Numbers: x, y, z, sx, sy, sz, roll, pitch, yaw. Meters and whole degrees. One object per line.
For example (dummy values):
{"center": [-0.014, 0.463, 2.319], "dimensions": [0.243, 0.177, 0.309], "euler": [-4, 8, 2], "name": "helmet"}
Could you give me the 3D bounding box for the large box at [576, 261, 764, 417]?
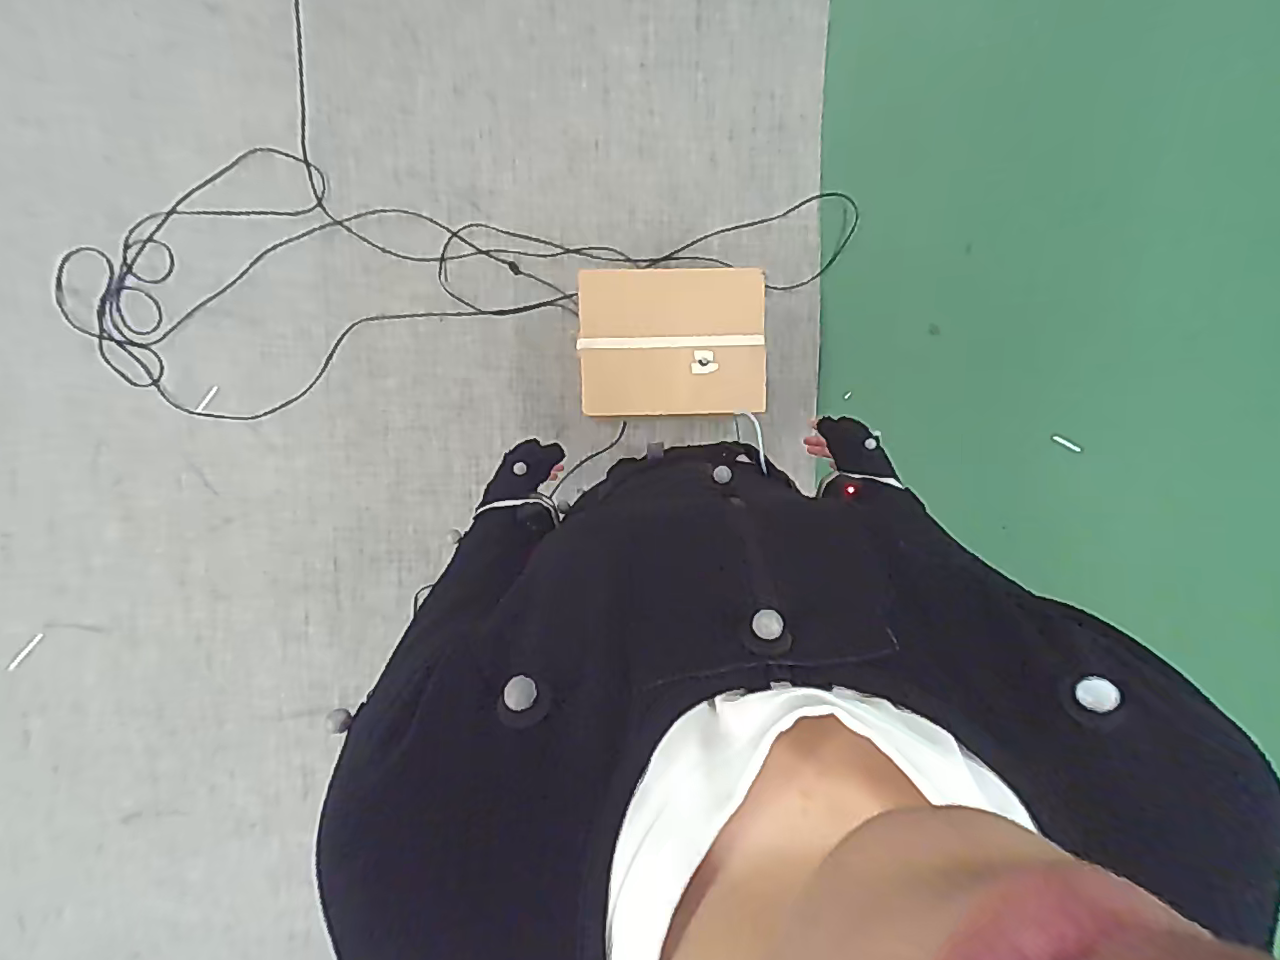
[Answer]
{"center": [0.061, -0.321, 1.314], "dimensions": [0.408, 0.320, 0.320], "euler": [-2, 95, -3], "name": "large box"}
